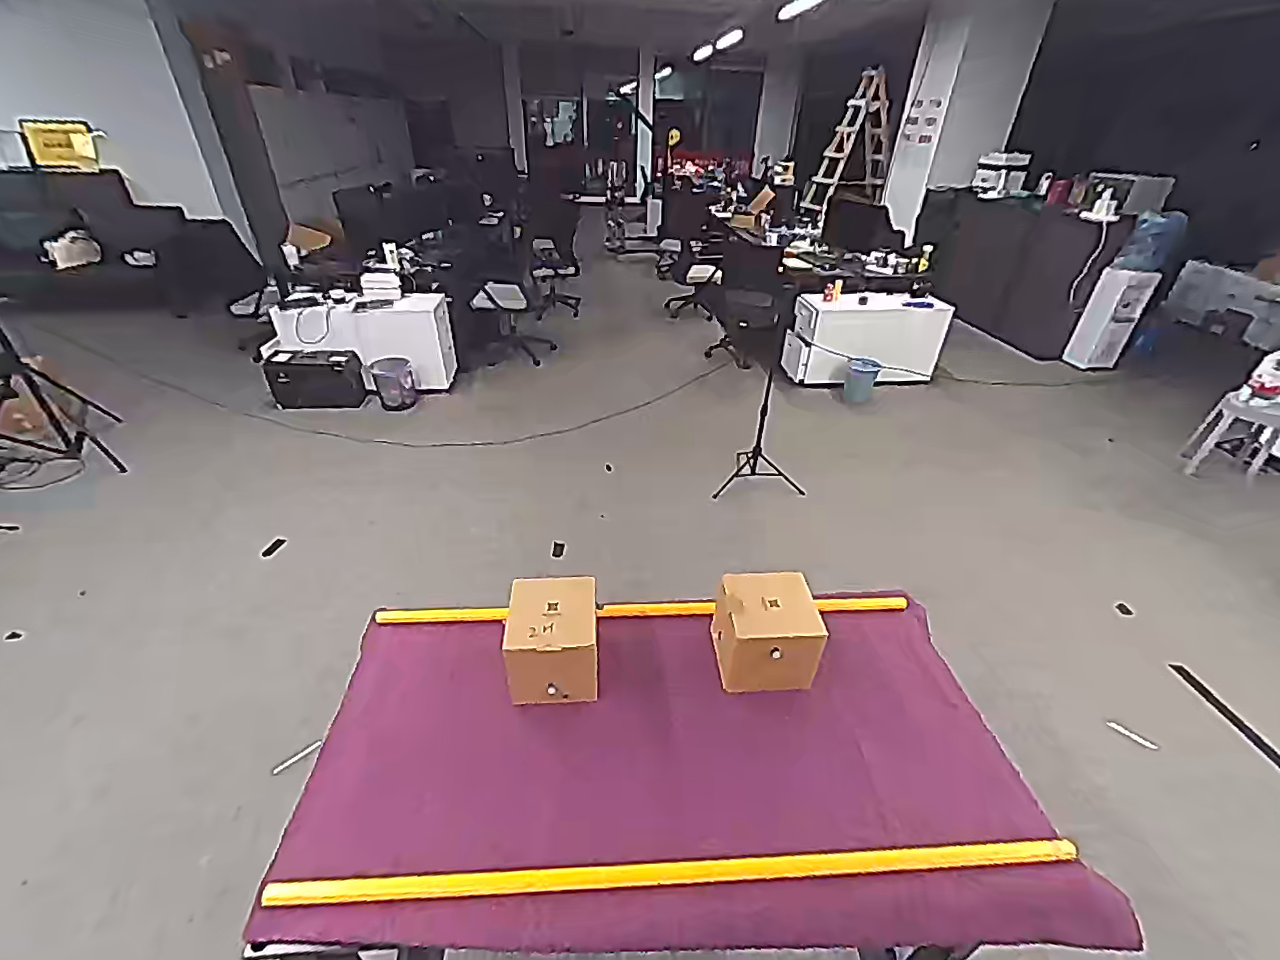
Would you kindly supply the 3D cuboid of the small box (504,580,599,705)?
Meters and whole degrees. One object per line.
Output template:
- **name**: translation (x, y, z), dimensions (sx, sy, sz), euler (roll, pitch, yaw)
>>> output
- **small box**: translation (-0.168, 0.319, 1.071), dimensions (0.168, 0.176, 0.179), euler (-1, 35, -4)

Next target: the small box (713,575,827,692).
- **small box**: translation (0.254, 0.312, 1.102), dimensions (0.179, 0.176, 0.168), euler (-2, 35, -4)
